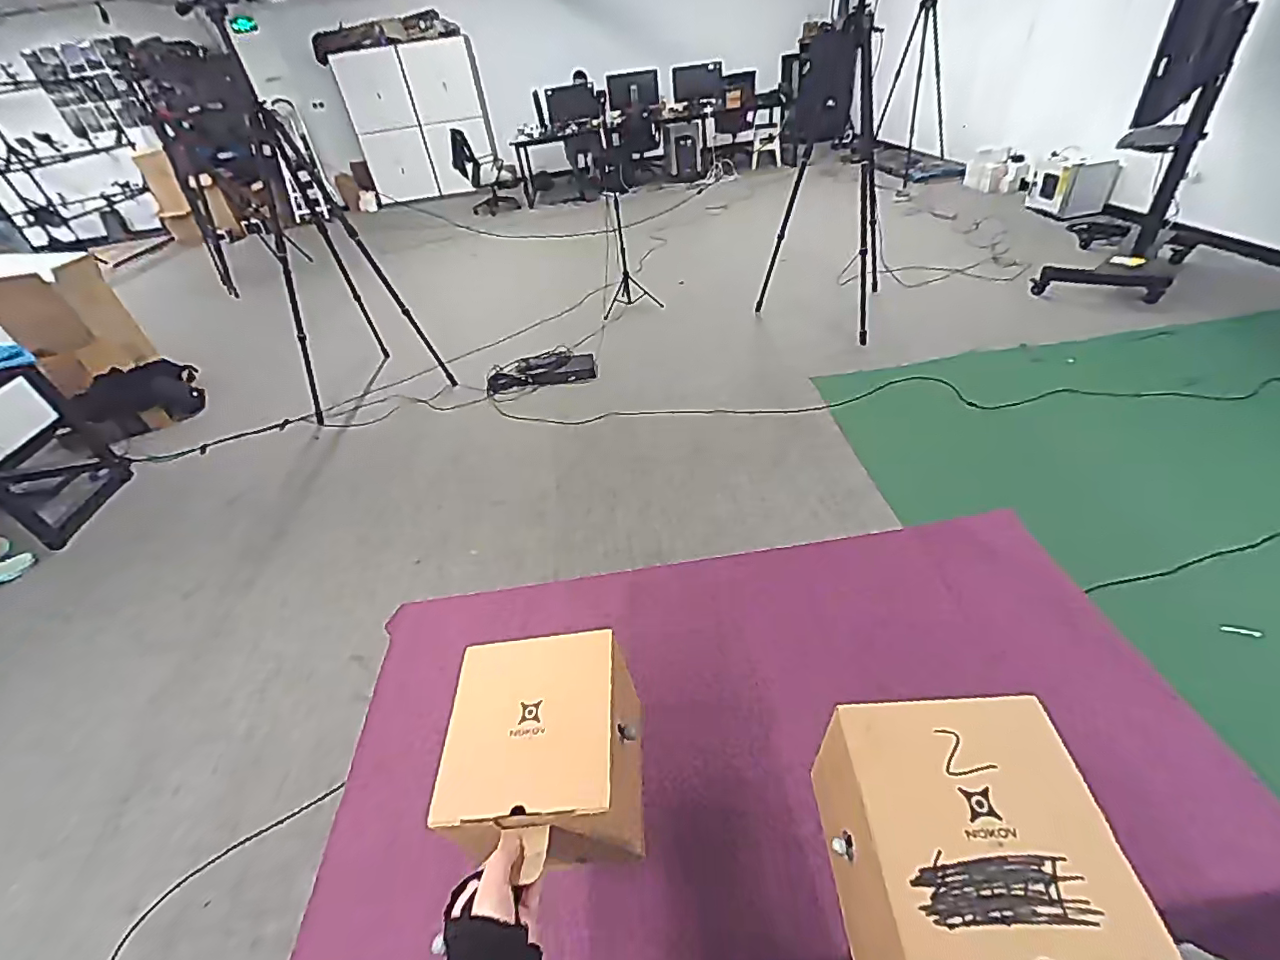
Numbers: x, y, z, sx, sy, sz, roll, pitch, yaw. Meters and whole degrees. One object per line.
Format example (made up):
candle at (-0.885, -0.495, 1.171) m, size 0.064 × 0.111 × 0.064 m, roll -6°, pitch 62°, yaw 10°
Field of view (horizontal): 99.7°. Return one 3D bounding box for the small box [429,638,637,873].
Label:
small box at (-0.098, 0.298, 0.587) m, size 0.168 × 0.176 × 0.179 m, roll -8°, pitch 43°, yaw 5°
